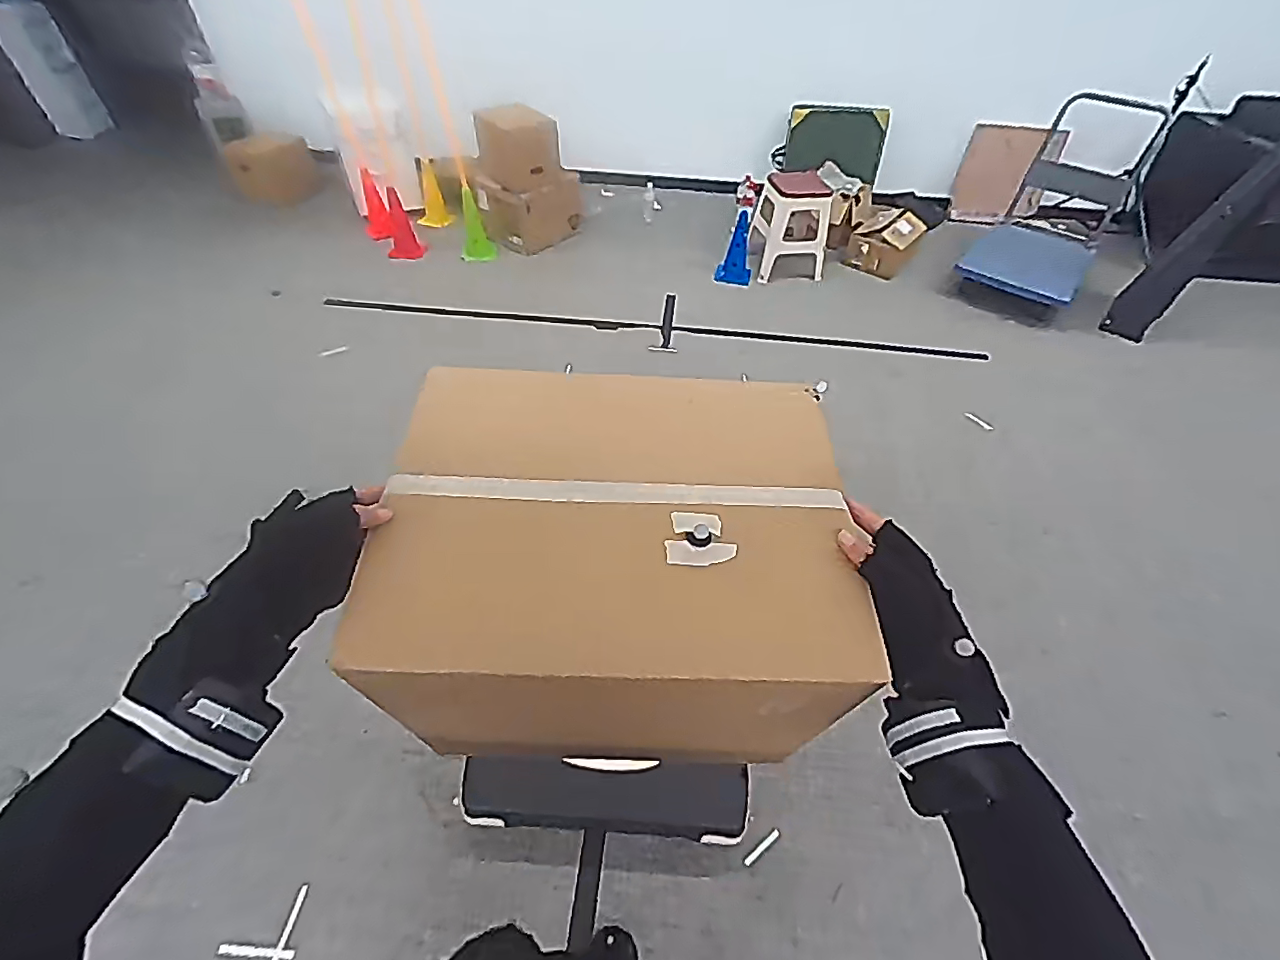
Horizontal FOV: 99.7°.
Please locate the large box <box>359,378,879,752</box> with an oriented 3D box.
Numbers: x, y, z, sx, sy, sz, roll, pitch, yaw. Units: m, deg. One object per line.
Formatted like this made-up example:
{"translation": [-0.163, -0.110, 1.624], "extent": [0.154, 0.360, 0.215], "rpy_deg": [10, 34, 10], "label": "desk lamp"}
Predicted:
{"translation": [-0.023, 0.108, 0.612], "extent": [0.408, 0.320, 0.320], "rpy_deg": [2, 53, -3], "label": "large box"}
